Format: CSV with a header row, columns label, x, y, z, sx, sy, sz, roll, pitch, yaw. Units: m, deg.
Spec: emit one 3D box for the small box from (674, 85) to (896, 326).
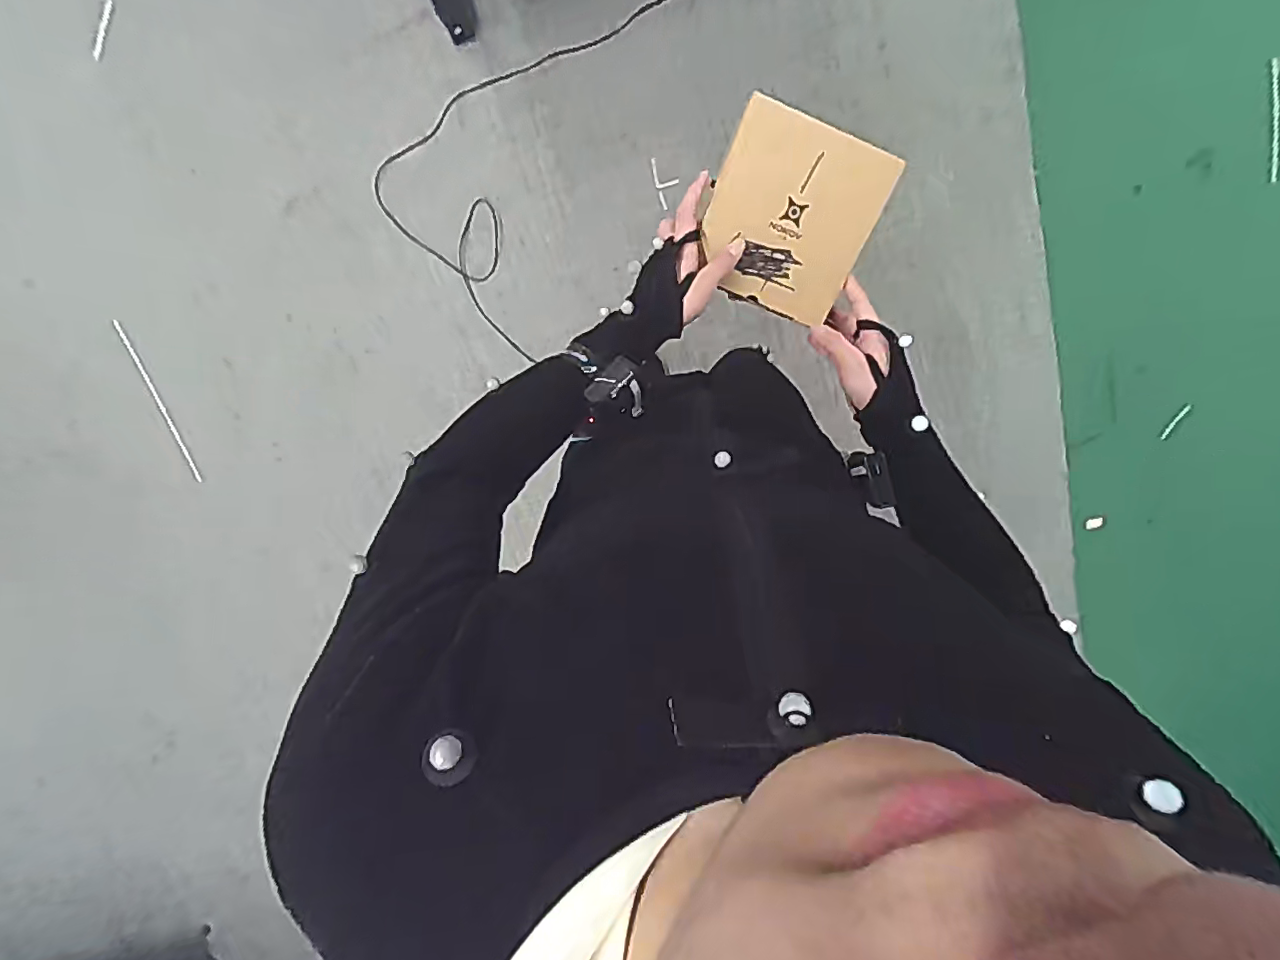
label,x,y,z,sx,sy,sz,roll,pitch,yaw
small box,0.148,-0.299,0.614,0.168,0.176,0.179,20,115,-5
